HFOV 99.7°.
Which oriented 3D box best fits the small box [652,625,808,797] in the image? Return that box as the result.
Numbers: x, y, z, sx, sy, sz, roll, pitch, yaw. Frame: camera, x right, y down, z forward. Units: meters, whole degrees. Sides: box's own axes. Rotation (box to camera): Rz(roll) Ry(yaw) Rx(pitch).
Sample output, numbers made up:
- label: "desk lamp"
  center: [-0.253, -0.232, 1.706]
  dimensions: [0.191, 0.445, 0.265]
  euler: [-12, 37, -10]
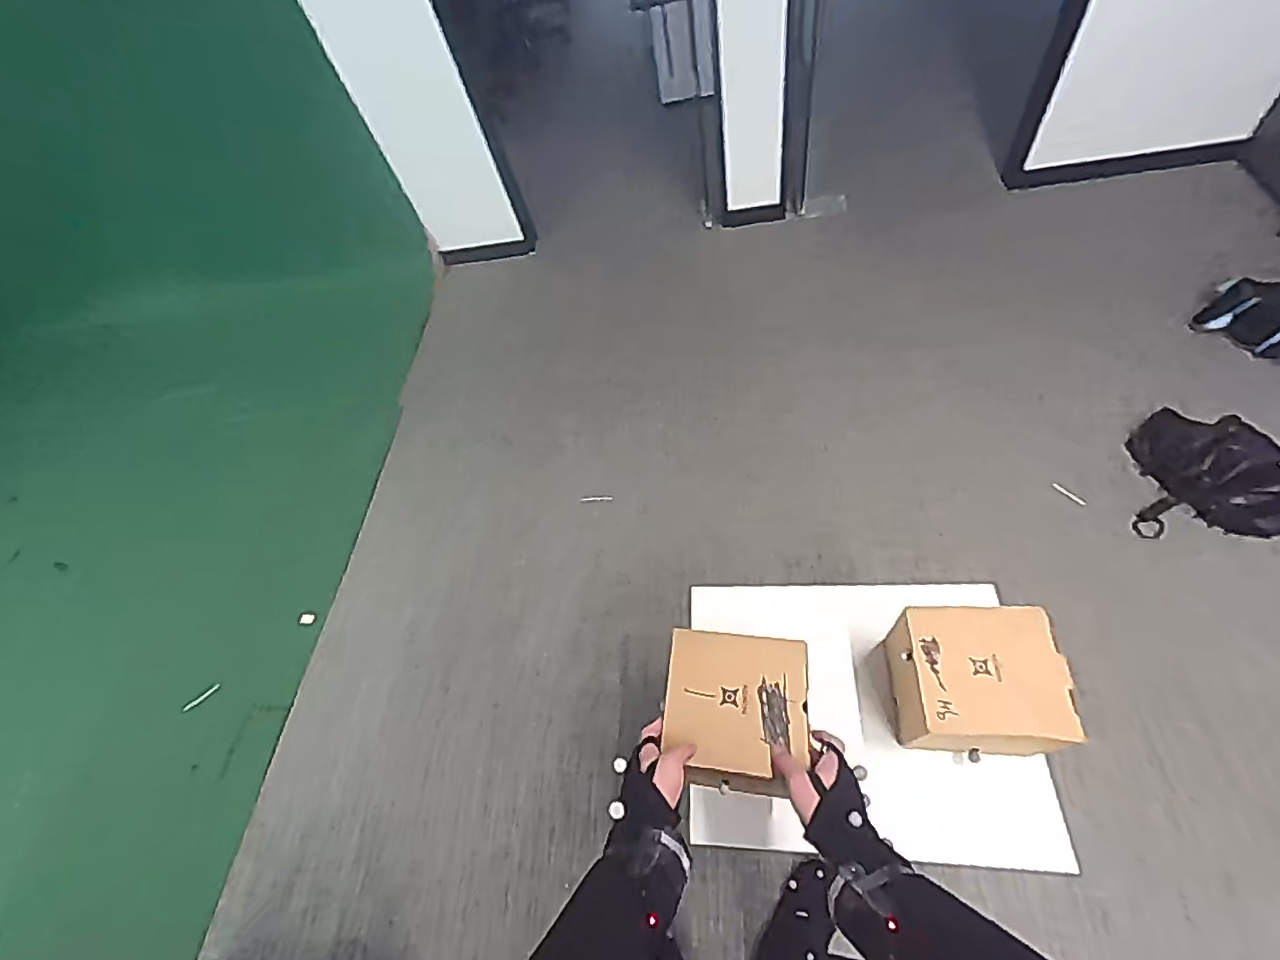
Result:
- label: "small box"
  center: [0.118, 0.309, 0.716]
  dimensions: [0.179, 0.176, 0.168]
  euler: [4, 54, 9]

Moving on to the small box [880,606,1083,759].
- label: "small box"
  center: [0.457, 0.287, 0.758]
  dimensions: [0.179, 0.176, 0.168]
  euler: [0, 57, 10]
